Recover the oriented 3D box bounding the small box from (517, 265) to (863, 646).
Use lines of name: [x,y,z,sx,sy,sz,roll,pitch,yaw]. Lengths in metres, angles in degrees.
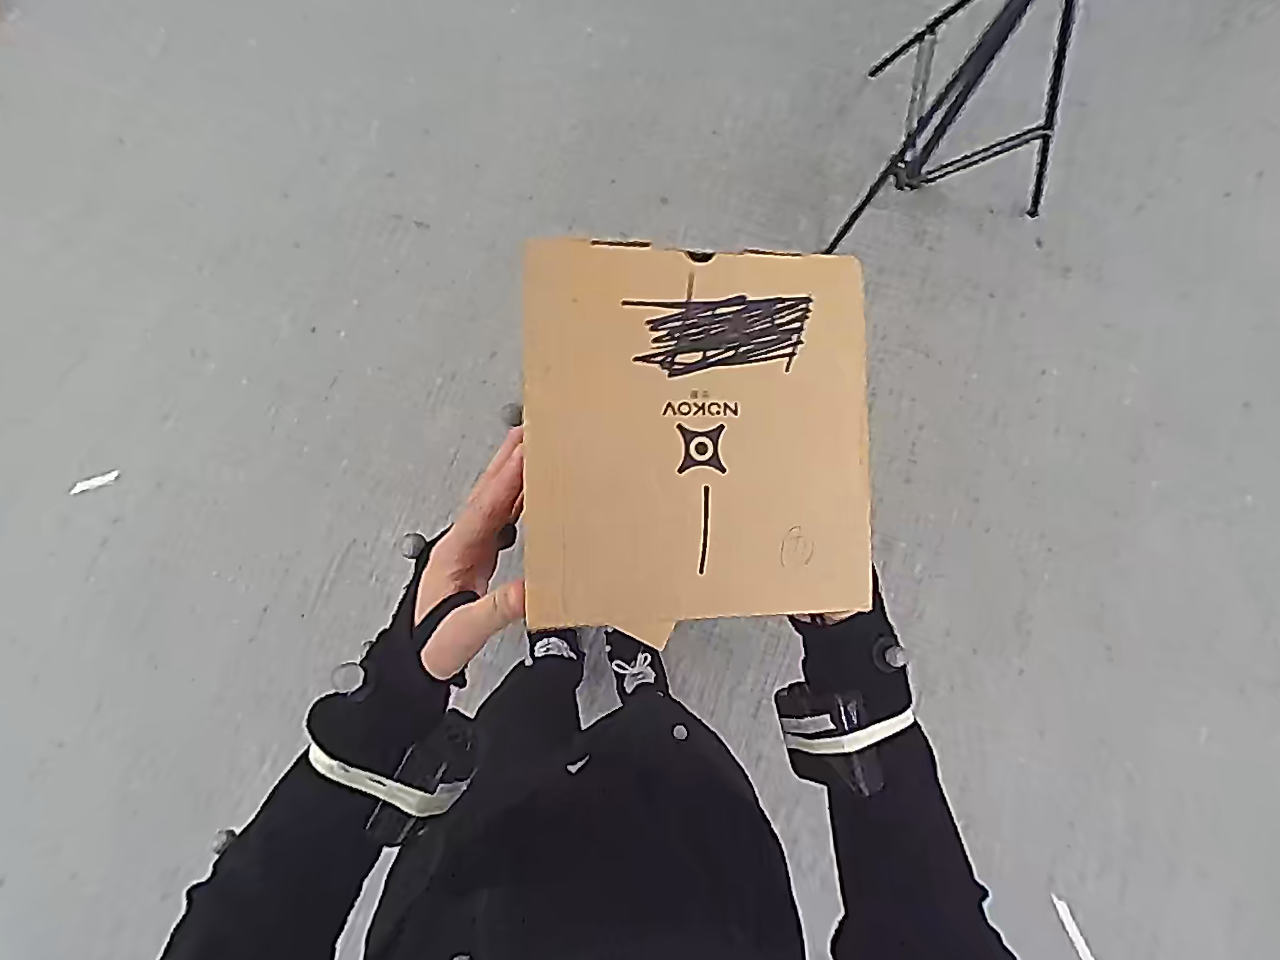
small box: [0.012,-0.010,0.335,0.168,0.176,0.179,-3,87,-10]
